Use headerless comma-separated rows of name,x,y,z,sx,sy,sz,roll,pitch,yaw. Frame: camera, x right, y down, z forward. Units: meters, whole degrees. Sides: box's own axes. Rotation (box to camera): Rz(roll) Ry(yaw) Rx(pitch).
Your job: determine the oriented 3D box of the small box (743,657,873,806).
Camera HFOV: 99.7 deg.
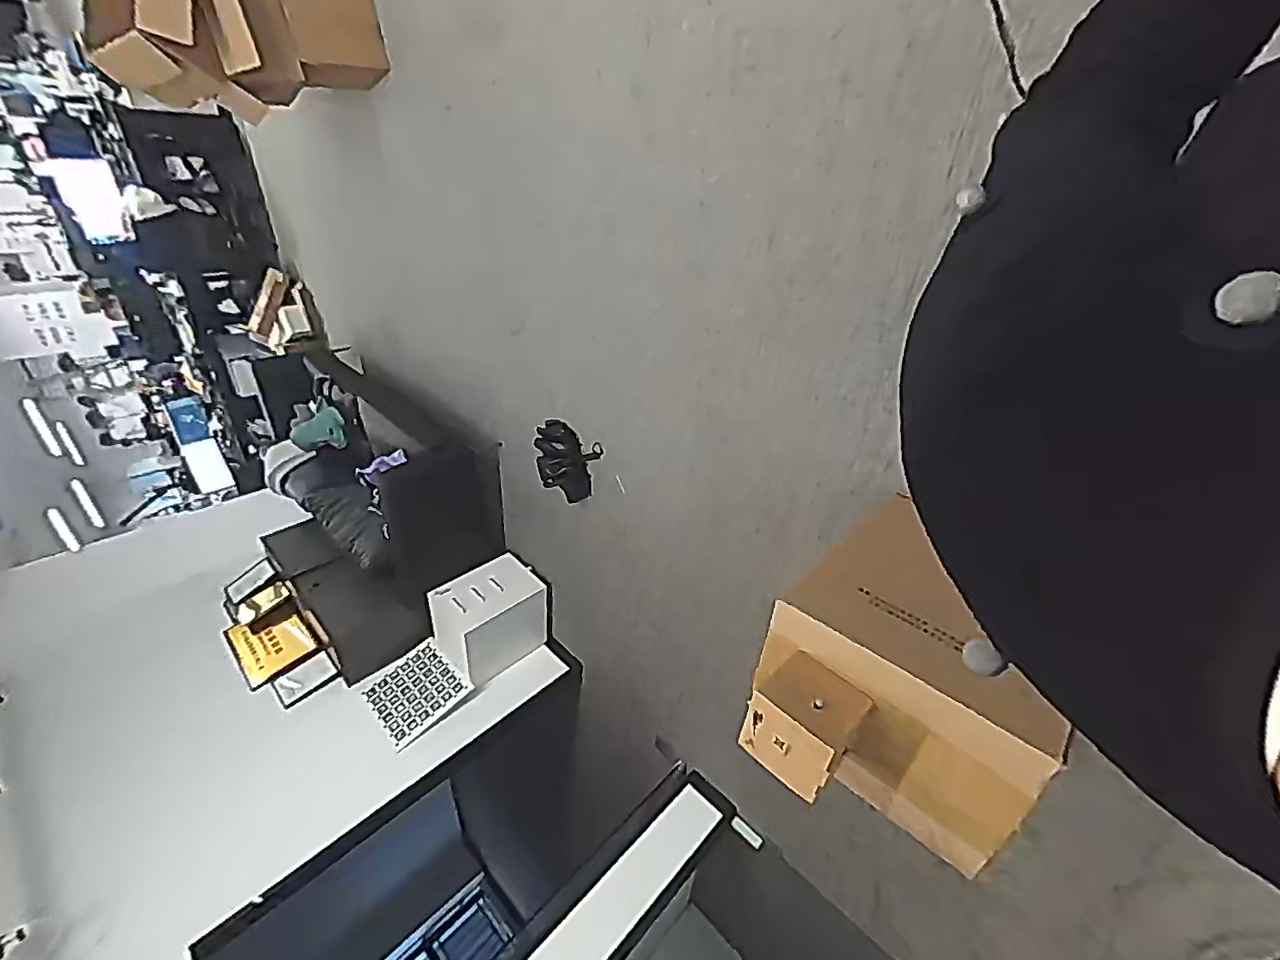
small box,0.339,0.493,1.086,0.179,0.176,0.168,29,125,34
